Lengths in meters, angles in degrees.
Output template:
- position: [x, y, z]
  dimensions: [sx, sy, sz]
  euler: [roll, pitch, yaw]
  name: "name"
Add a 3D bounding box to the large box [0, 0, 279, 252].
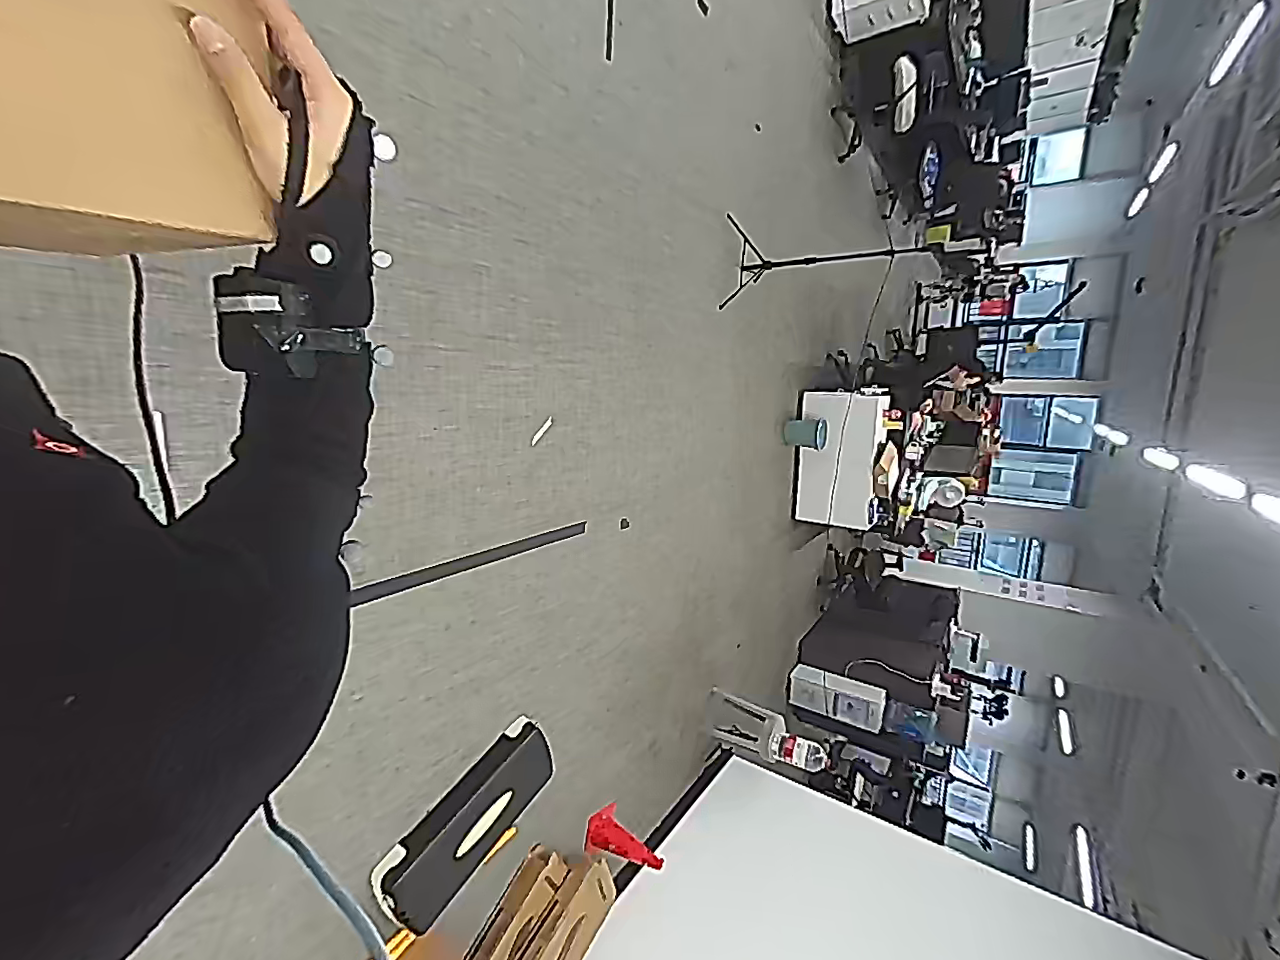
- position: [-0.458, -0.286, 0.219]
  dimensions: [0.408, 0.320, 0.320]
  euler: [-22, 120, -56]
  name: "large box"
